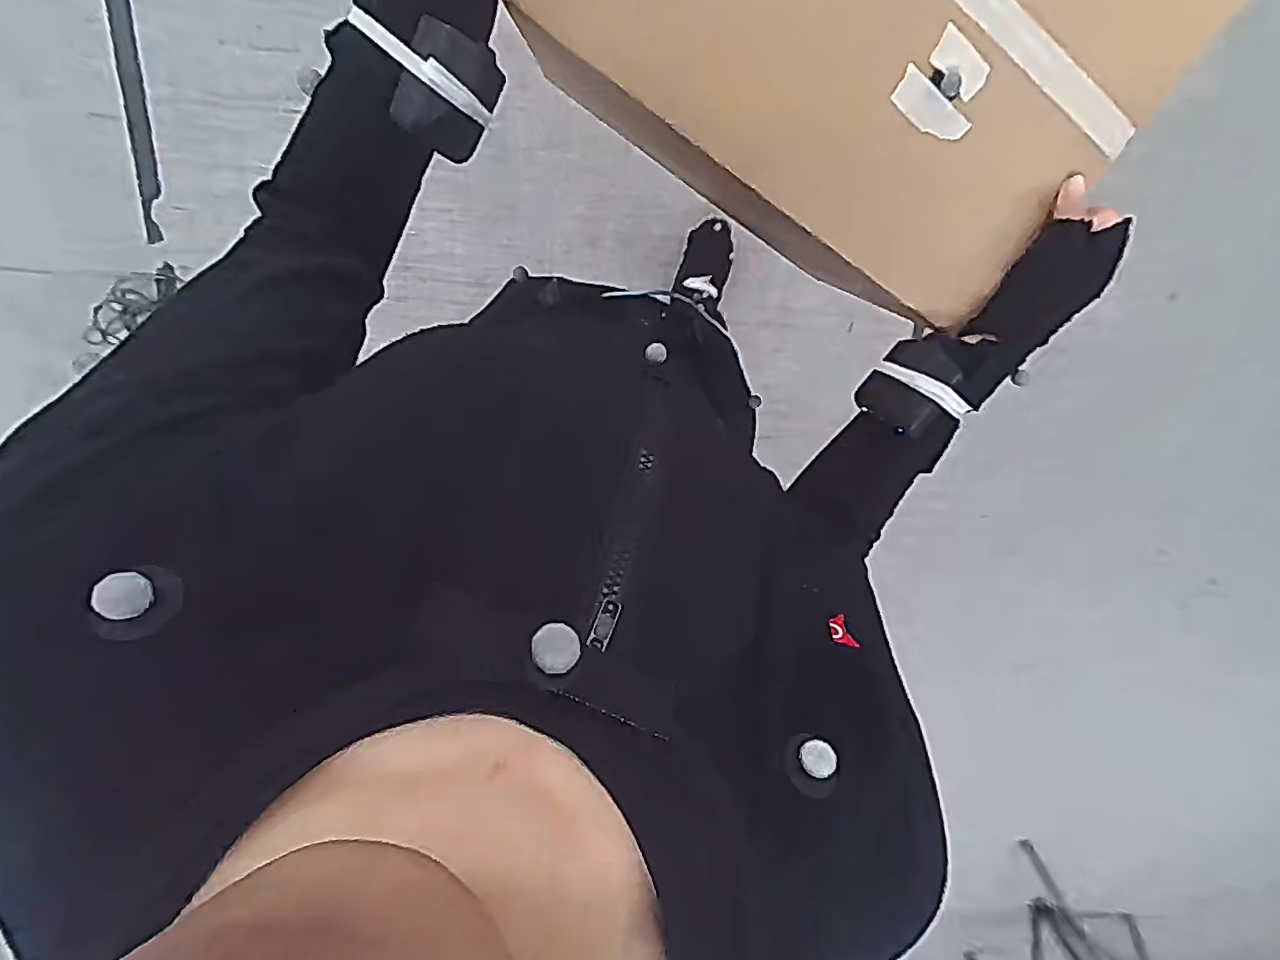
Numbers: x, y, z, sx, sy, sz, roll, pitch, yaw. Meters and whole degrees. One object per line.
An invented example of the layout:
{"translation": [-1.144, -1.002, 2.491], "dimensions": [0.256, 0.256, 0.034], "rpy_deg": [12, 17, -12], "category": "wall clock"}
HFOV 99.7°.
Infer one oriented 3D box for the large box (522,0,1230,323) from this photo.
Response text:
{"translation": [0.158, -0.399, 0.464], "dimensions": [0.408, 0.320, 0.320], "rpy_deg": [27, 114, -18], "category": "large box"}
